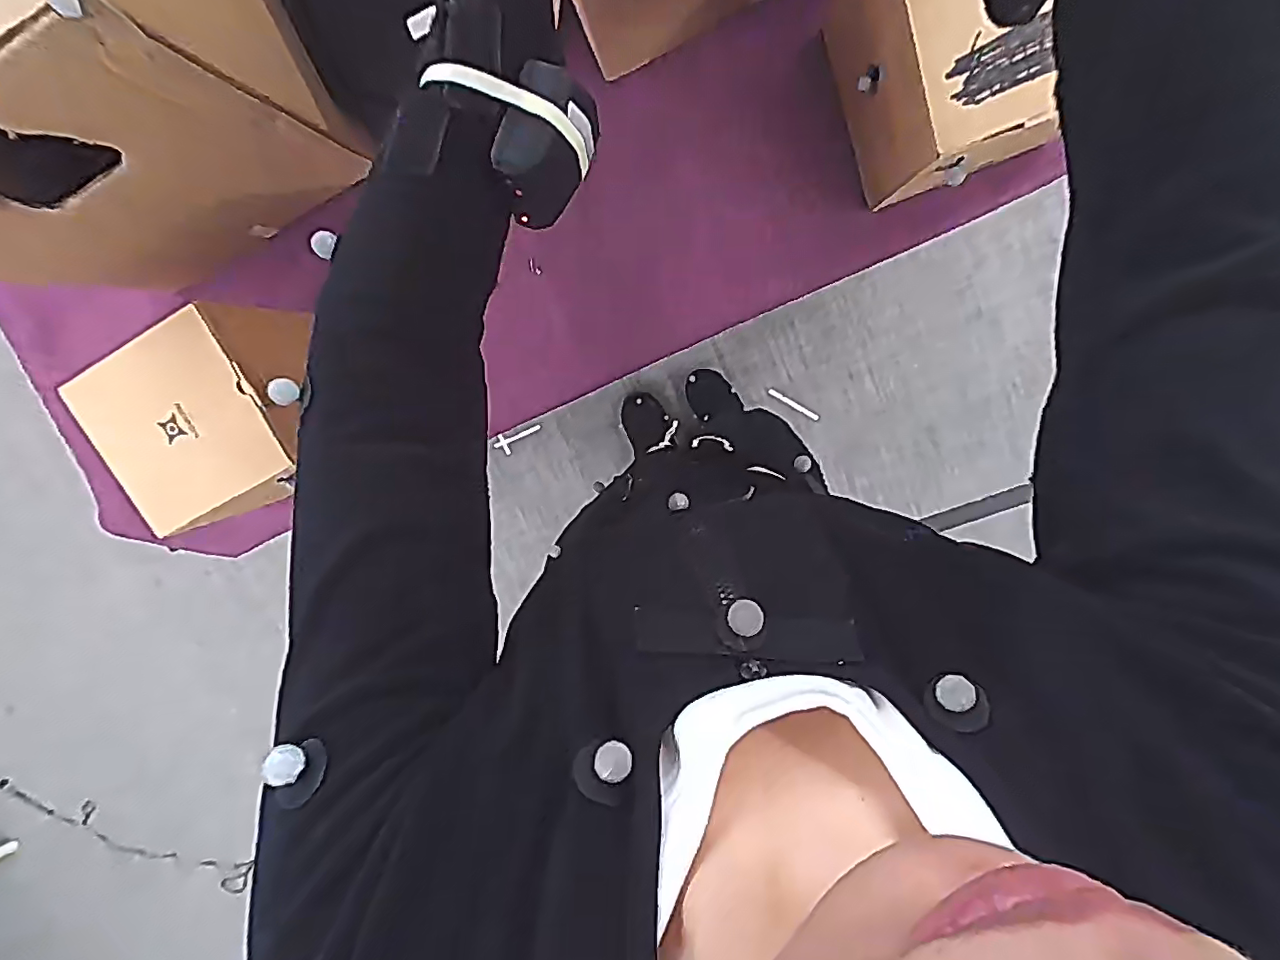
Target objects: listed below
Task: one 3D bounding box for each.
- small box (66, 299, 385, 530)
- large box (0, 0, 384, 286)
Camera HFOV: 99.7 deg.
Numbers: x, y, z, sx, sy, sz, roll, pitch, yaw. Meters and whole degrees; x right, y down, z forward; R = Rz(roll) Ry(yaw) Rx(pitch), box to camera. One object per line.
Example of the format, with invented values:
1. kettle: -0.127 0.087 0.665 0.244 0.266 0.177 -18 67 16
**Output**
1. small box: -0.422 -0.071 0.583 0.179 0.176 0.168 -26 99 10
2. large box: -0.505 -0.421 0.431 0.320 0.320 0.408 -24 103 11
